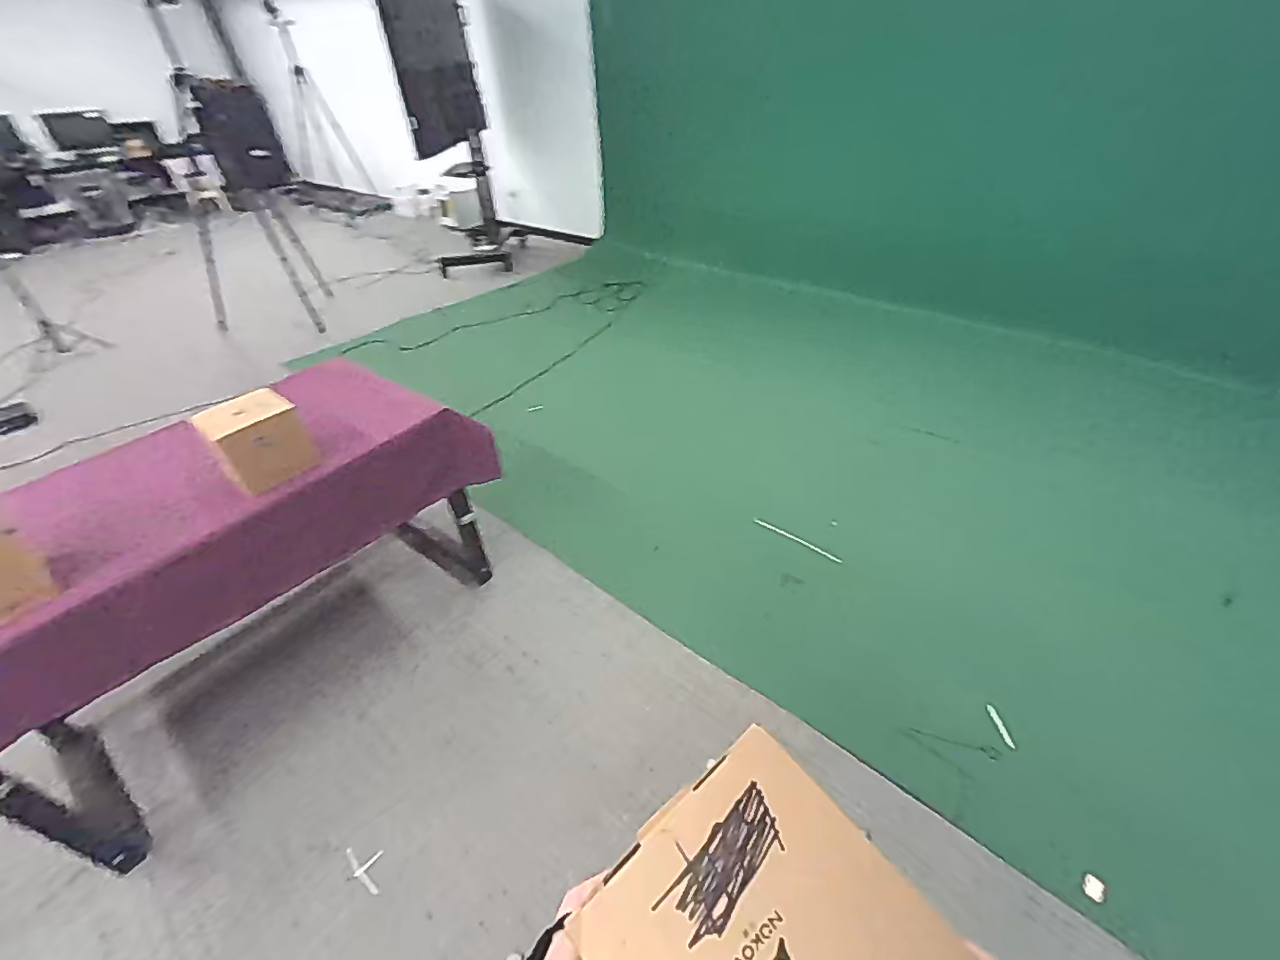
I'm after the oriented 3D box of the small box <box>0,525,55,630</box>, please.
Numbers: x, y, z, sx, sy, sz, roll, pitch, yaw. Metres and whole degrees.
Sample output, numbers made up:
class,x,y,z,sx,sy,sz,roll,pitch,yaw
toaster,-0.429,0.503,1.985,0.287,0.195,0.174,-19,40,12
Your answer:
class,x,y,z,sx,sy,sz,roll,pitch,yaw
small box,-1.251,0.182,0.994,0.179,0.176,0.168,25,46,30

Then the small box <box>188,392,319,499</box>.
class,x,y,z,sx,sy,sz,roll,pitch,yaw
small box,-0.924,-0.083,1.303,0.168,0.176,0.179,26,47,30
